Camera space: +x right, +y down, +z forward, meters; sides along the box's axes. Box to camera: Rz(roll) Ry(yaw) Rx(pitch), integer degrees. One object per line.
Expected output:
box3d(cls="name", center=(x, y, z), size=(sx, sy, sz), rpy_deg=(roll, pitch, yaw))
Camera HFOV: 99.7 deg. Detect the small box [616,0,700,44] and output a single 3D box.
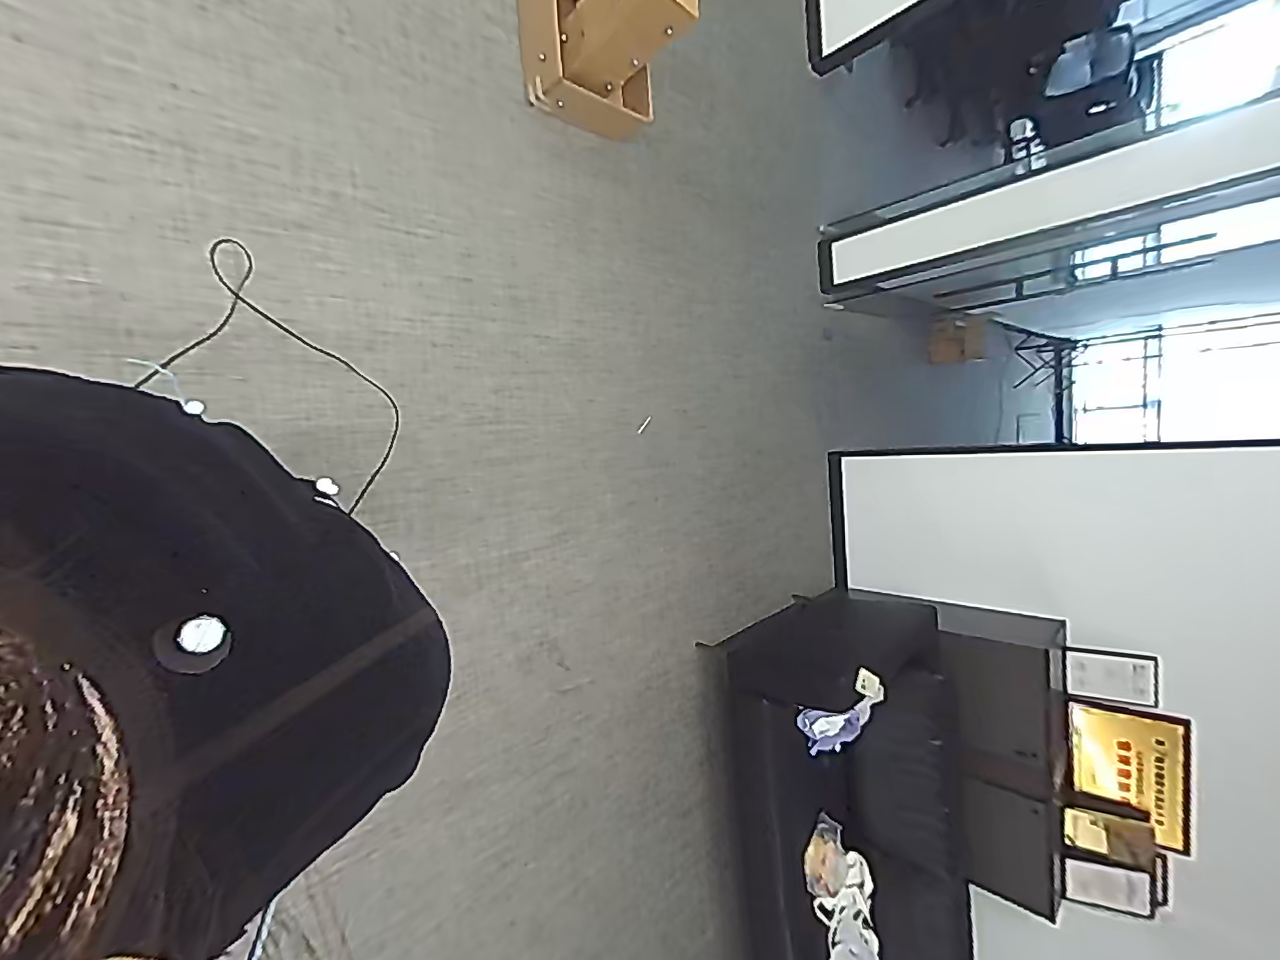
box3d(cls="small box", center=(0.049, -1.374, 1.510), size=(0.179, 0.176, 0.168), rpy_deg=(-6, 94, -43))
